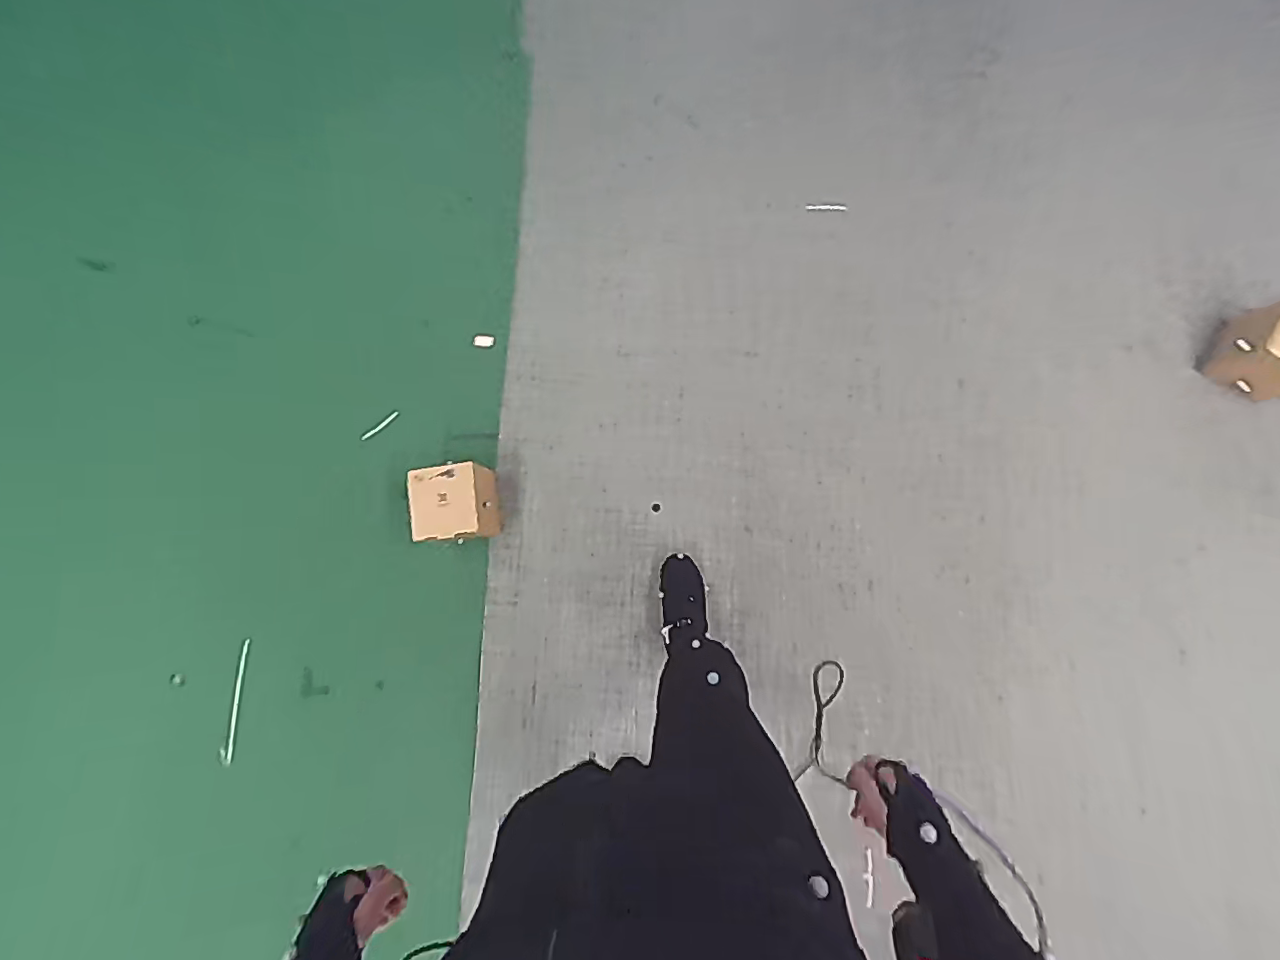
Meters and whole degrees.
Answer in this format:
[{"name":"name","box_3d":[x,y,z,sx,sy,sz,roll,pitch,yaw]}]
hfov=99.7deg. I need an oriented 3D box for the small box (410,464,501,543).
[{"name":"small box","box_3d":[-0.469,0.065,1.394,0.168,0.176,0.179,-8,82,2]}]
